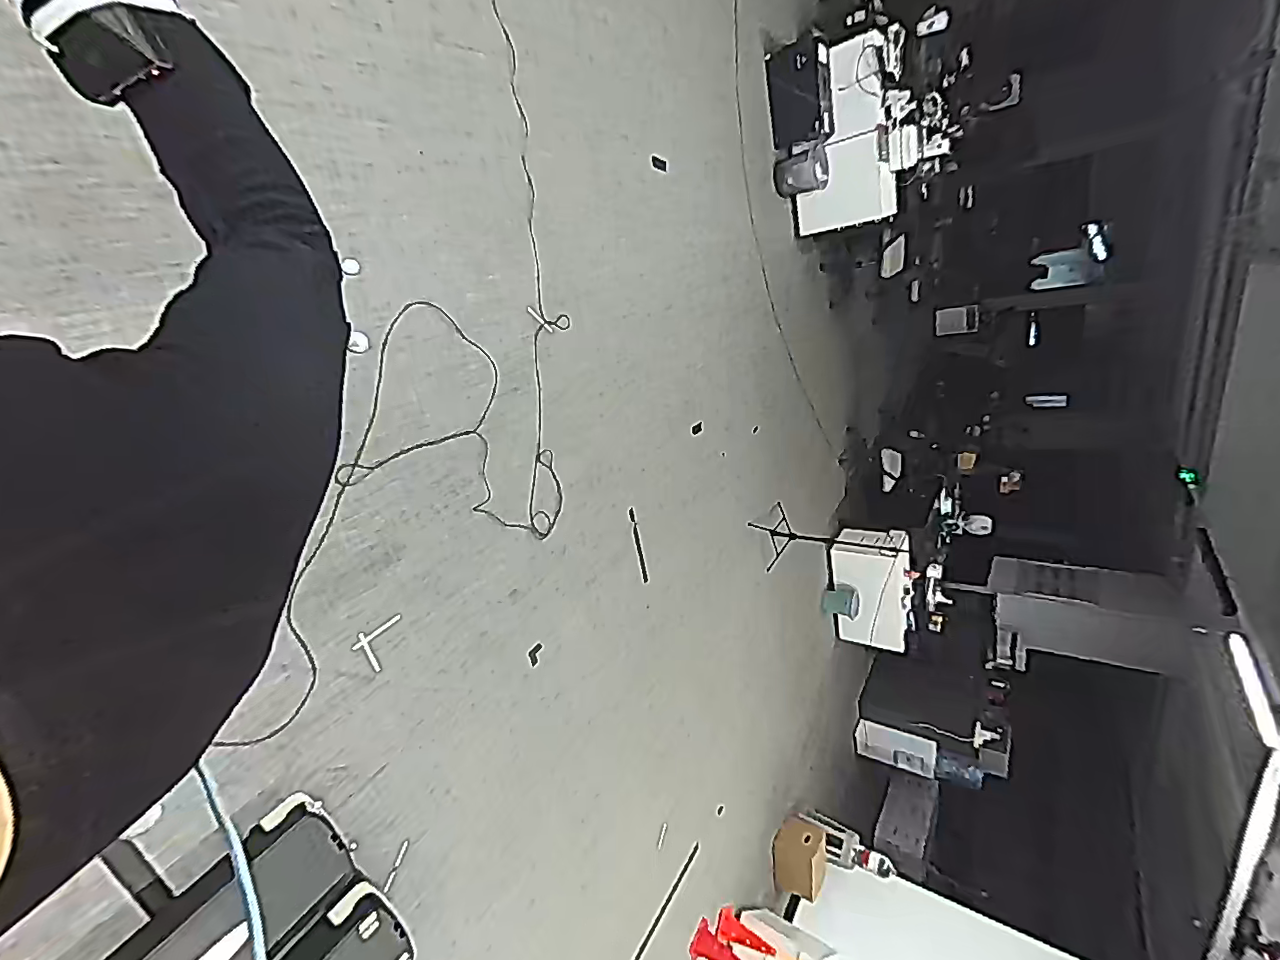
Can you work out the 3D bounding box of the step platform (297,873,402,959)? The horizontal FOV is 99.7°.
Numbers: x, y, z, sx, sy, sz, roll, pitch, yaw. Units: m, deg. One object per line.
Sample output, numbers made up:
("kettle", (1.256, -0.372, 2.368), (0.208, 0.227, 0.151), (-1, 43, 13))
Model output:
("step platform", (-0.931, 1.366, 1.293), (0.684, 0.204, 0.286), (-39, 123, -43))
